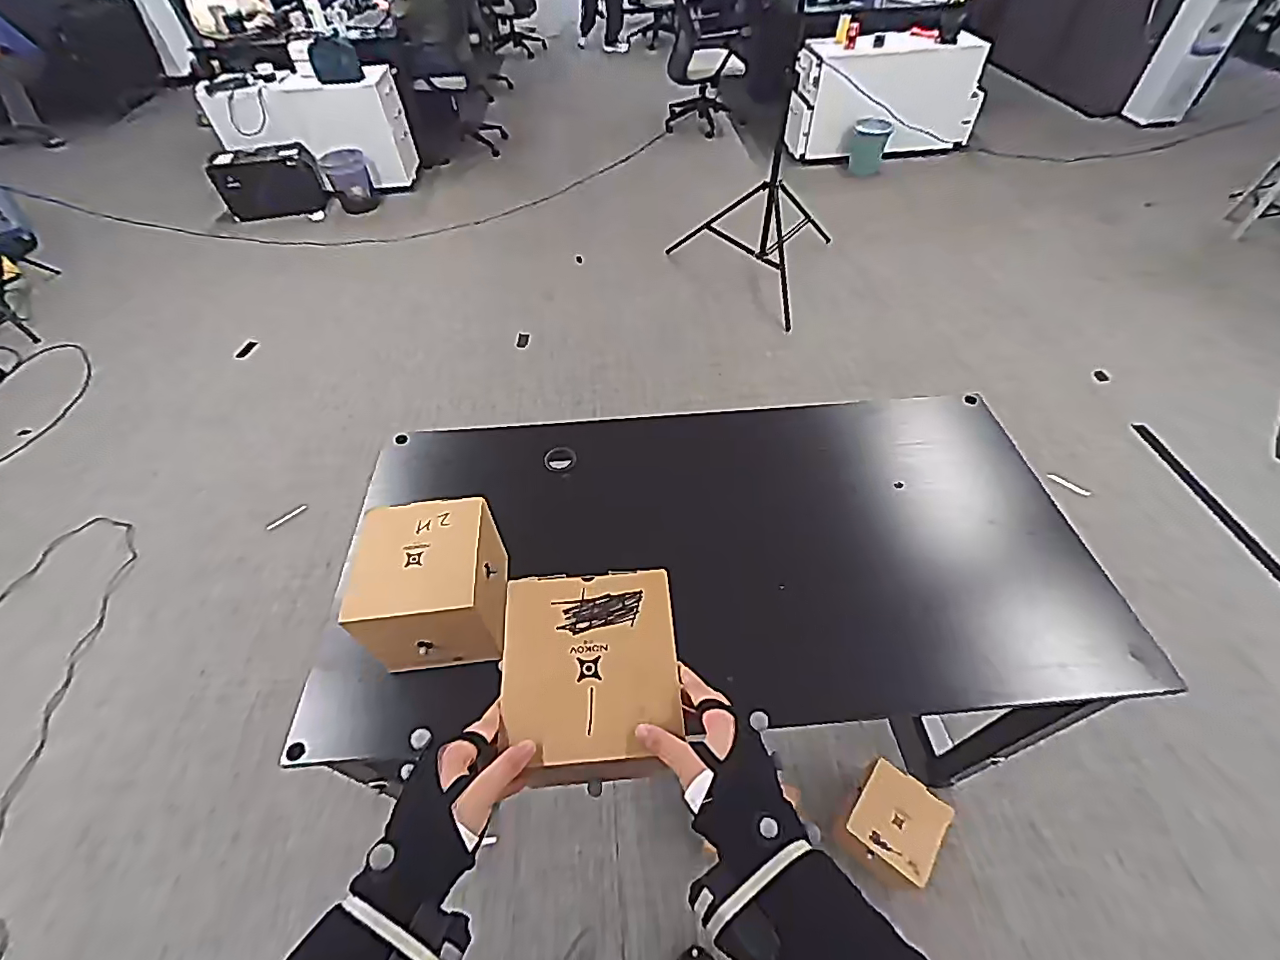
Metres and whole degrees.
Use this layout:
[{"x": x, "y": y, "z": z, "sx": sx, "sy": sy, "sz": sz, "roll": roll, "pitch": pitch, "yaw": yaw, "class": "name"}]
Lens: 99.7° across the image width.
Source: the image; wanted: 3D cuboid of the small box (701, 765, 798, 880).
[{"x": 0.238, "y": 0.760, "z": 1.195, "sx": 0.179, "sy": 0.176, "sz": 0.168, "roll": 11, "pitch": 51, "yaw": 13, "class": "small box"}]

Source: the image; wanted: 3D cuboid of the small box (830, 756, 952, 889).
[{"x": 0.541, "y": 0.752, "z": 1.185, "sx": 0.168, "sy": 0.176, "sz": 0.179, "roll": 31, "pitch": 58, "yaw": 25, "class": "small box"}]

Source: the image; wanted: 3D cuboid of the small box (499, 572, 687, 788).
[{"x": -0.046, "y": 0.216, "z": 0.576, "sx": 0.168, "sy": 0.176, "sz": 0.179, "roll": -4, "pitch": 57, "yaw": -2, "class": "small box"}]

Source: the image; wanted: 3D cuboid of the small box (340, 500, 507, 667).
[{"x": -0.290, "y": 0.153, "z": 0.770, "sx": 0.168, "sy": 0.176, "sz": 0.179, "roll": -6, "pitch": 50, "yaw": -3, "class": "small box"}]
